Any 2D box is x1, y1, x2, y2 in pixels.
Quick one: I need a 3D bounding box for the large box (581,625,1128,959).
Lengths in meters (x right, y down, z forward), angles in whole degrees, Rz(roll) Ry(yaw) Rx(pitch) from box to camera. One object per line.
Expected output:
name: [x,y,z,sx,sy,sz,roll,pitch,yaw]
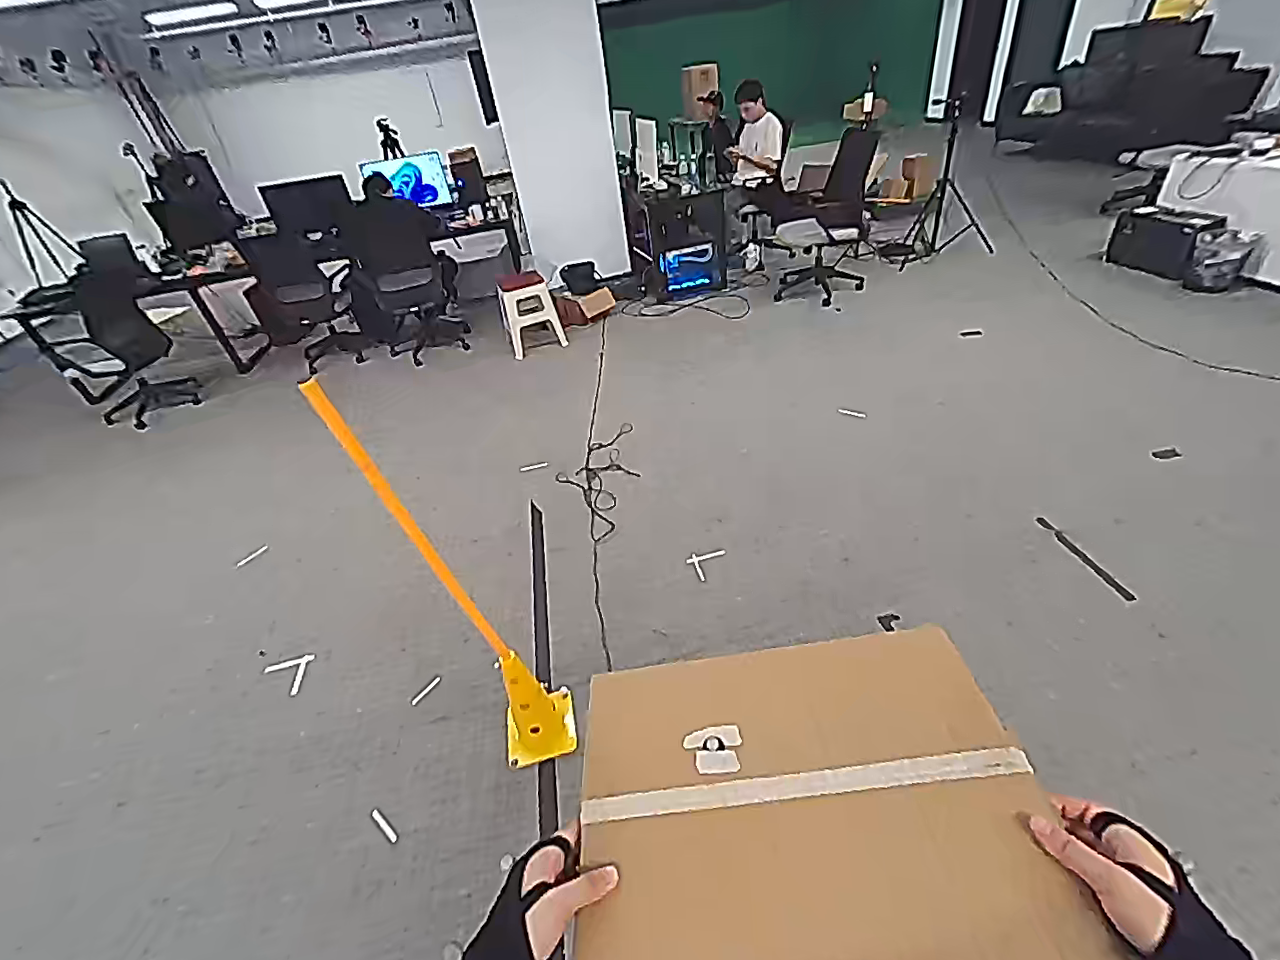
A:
large box: [0.178,0.409,0.595,0.408,0.320,0.320,-12,33,7]
